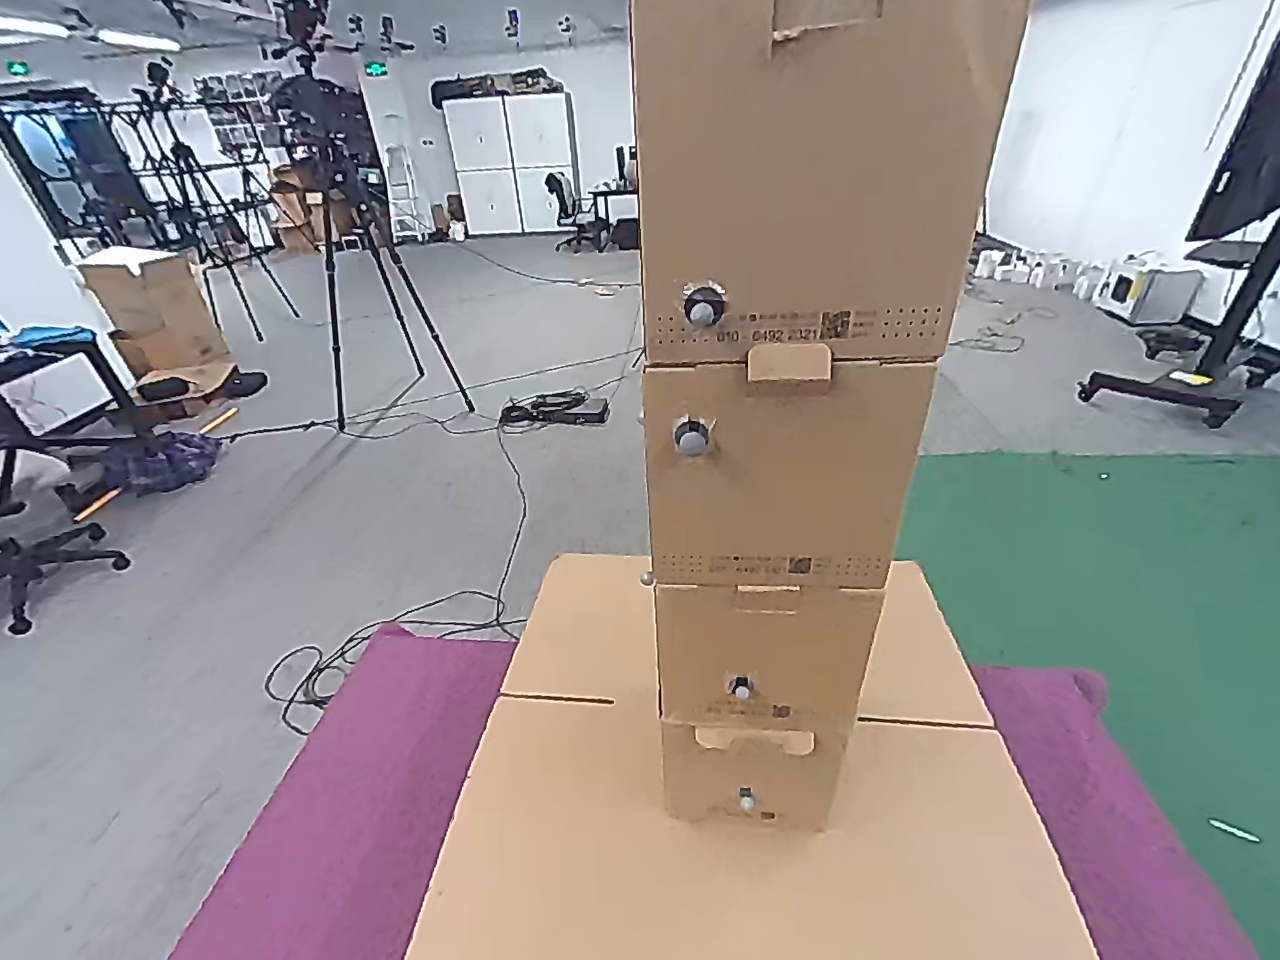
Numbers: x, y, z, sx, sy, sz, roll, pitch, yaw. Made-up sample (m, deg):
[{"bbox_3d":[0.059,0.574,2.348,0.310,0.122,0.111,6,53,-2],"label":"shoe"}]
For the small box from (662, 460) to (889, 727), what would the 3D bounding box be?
[{"bbox_3d":[0.107,0.097,0.502,0.168,0.176,0.179,0,33,6],"label":"small box"}]

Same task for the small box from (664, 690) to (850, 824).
[{"bbox_3d":[0.115,0.234,0.589,0.168,0.176,0.179,1,33,7],"label":"small box"}]

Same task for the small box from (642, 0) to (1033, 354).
[{"bbox_3d":[0.089,-0.182,0.329,0.168,0.176,0.179,-2,33,2],"label":"small box"}]
